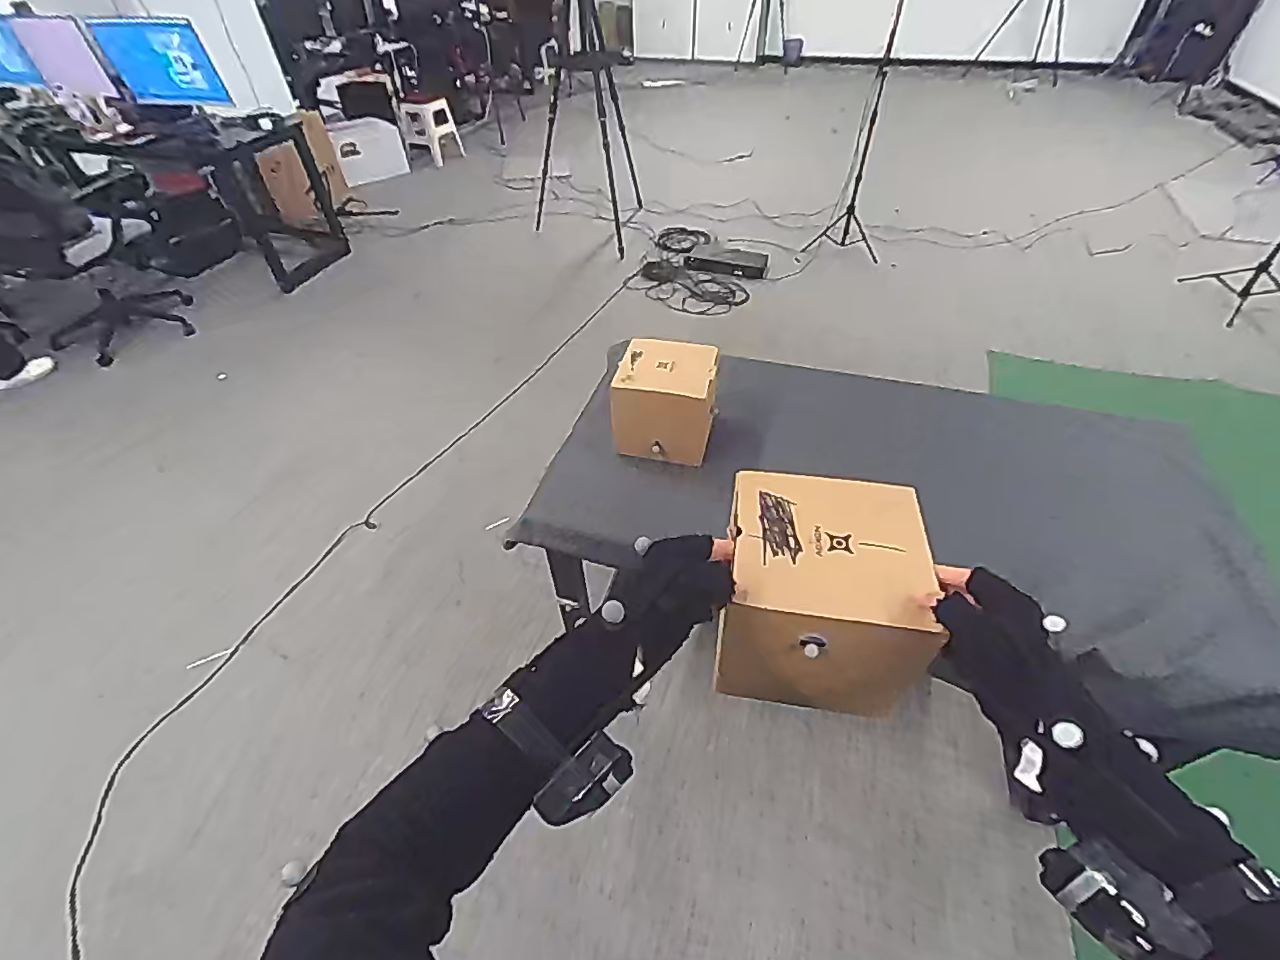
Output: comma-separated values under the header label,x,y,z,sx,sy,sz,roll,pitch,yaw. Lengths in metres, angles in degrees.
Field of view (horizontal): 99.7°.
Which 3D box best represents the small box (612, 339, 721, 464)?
label,x,y,z,sx,sy,sz,roll,pitch,yaw
small box,0.053,-0.150,1.062,0.179,0.176,0.168,10,47,10
